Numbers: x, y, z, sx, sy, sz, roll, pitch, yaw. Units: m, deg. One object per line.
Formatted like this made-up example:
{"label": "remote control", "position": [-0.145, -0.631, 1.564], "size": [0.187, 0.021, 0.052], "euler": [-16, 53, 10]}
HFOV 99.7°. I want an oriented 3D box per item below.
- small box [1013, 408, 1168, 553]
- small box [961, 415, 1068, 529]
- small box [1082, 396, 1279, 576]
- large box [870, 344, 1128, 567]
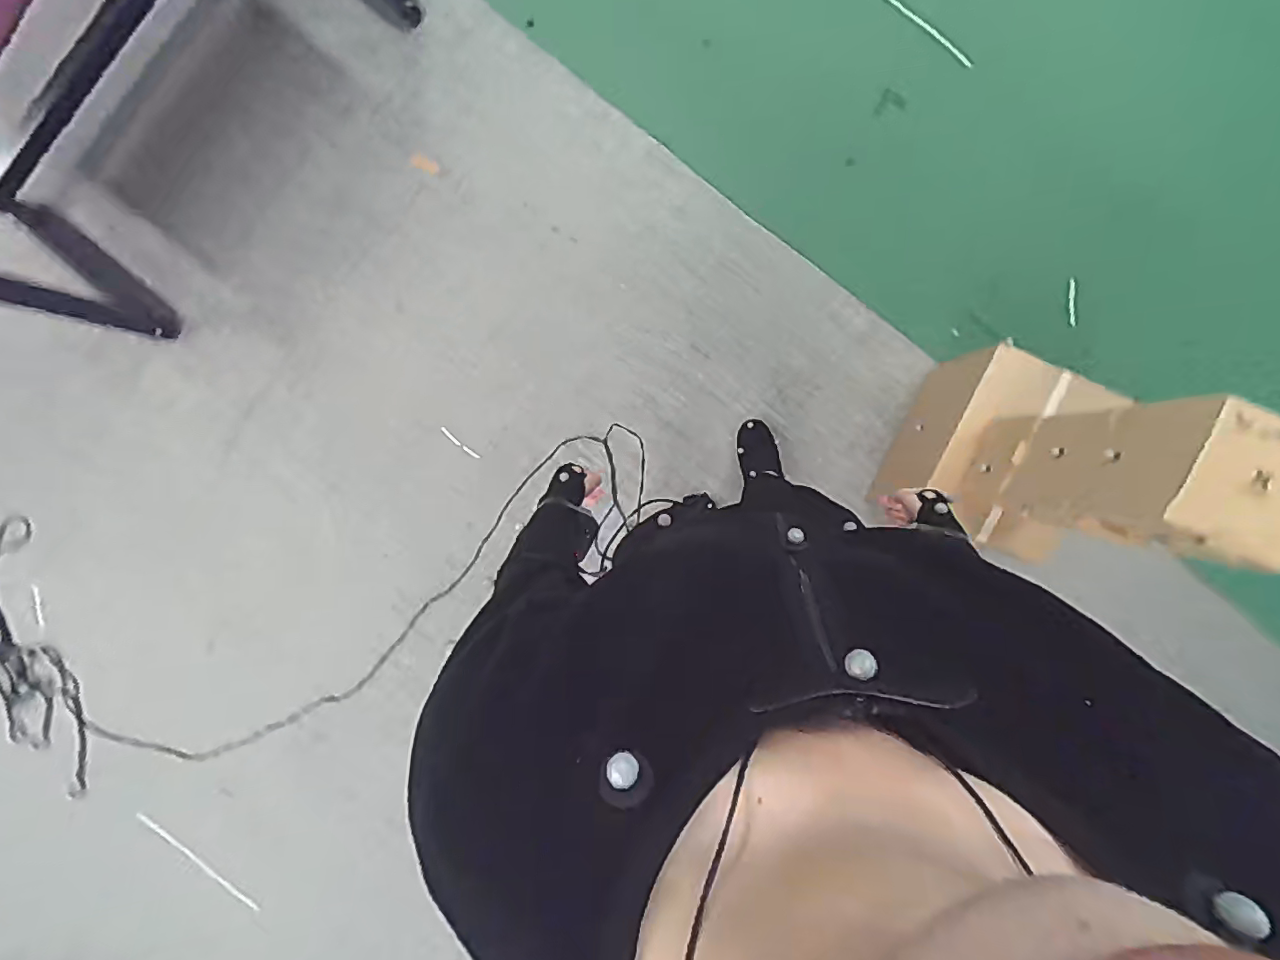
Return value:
{"label": "small box", "position": [0.777, -0.001, 0.909], "size": [0.168, 0.176, 0.179], "euler": [25, 93, 3]}
{"label": "small box", "position": [0.786, -0.012, 1.072], "size": [0.179, 0.176, 0.168], "euler": [26, 94, 2]}
{"label": "small box", "position": [0.770, 0.004, 0.745], "size": [0.168, 0.176, 0.179], "euler": [26, 95, 2]}
{"label": "large box", "position": [0.830, -0.053, 1.313], "size": [0.320, 0.320, 0.408], "euler": [26, 92, 1]}
